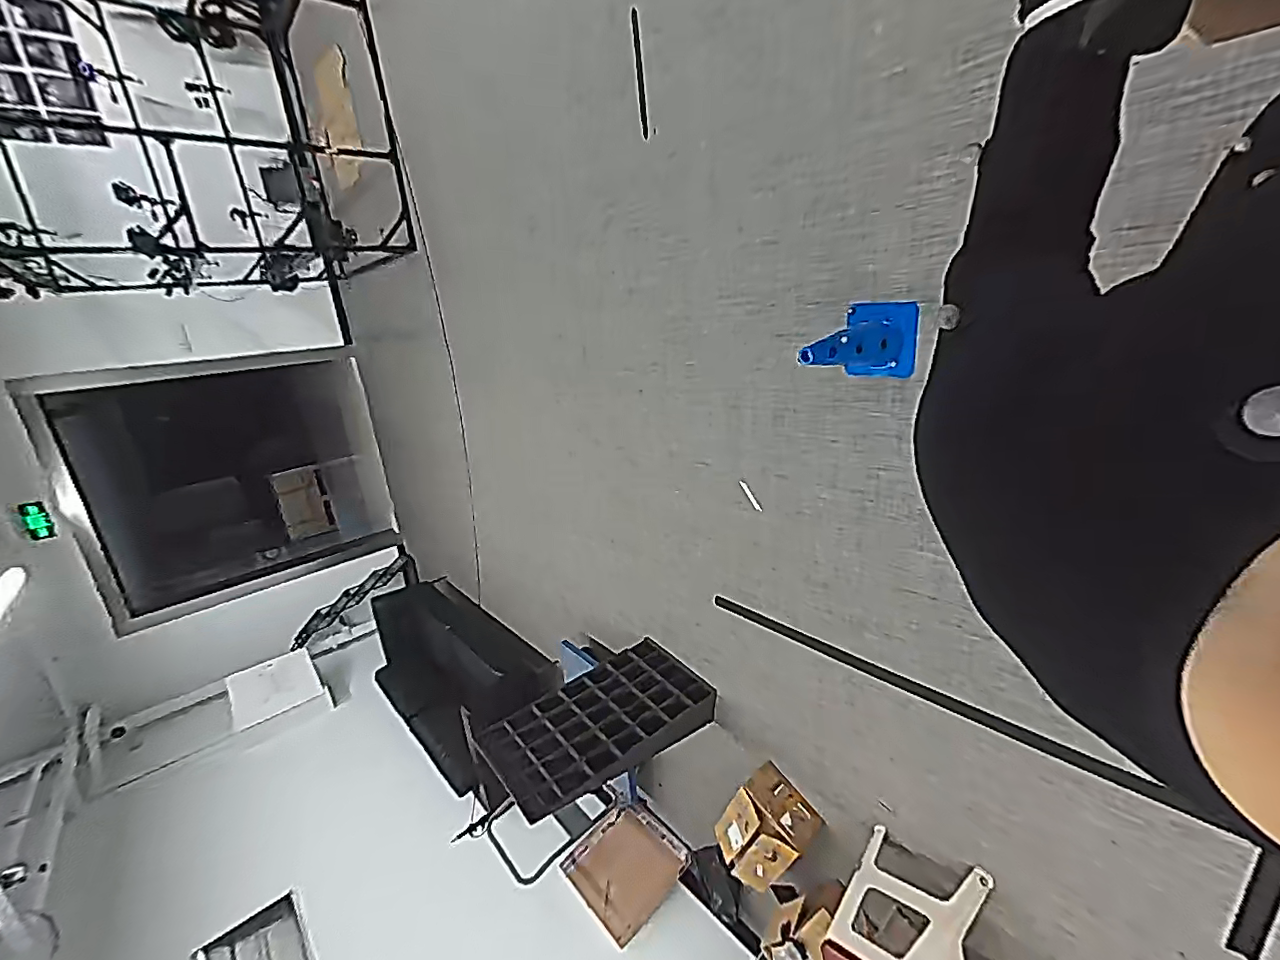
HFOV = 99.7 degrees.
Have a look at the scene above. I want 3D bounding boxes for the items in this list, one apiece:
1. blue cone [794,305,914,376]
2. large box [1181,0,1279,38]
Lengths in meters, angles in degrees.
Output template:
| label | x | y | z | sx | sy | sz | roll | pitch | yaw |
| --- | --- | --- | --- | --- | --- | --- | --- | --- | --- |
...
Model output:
| label | x | y | z | sx | sy | sz | roll | pitch | yaw |
| --- | --- | --- | --- | --- | --- | --- | --- | --- | --- |
| blue cone | 0.536 | -0.345 | 1.409 | 0.192 | 0.380 | 0.193 | 20 | 120 | 48 |
| large box | 0.531 | -0.468 | 0.226 | 0.408 | 0.320 | 0.320 | 14 | 122 | 45 |
